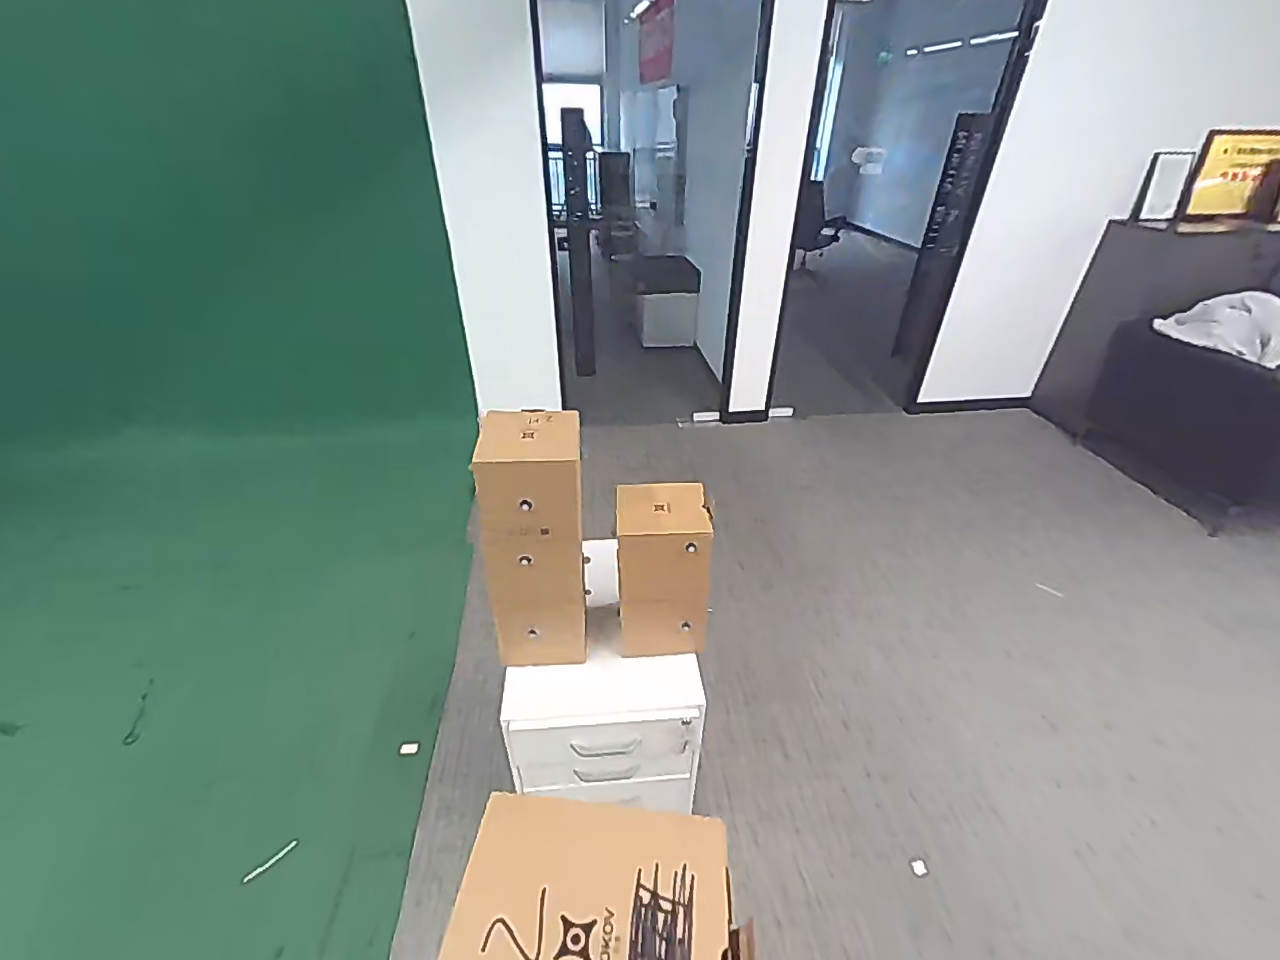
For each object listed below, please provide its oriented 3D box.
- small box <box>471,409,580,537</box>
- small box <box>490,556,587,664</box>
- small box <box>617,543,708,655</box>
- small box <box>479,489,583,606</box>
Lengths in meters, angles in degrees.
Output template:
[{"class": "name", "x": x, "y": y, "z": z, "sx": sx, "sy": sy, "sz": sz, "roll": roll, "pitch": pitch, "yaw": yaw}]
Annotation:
[{"class": "small box", "x": -0.190, "y": -0.011, "z": 0.954, "sx": 0.168, "sy": 0.176, "sz": 0.179, "roll": -1, "pitch": 34, "yaw": -6}, {"class": "small box", "x": -0.203, "y": 0.266, "z": 1.131, "sx": 0.179, "sy": 0.176, "sz": 0.168, "roll": -2, "pitch": 35, "yaw": -5}, {"class": "small box", "x": 0.041, "y": 0.254, "z": 1.157, "sx": 0.179, "sy": 0.176, "sz": 0.168, "roll": -4, "pitch": 34, "yaw": -3}, {"class": "small box", "x": -0.200, "y": 0.128, "z": 1.042, "sx": 0.179, "sy": 0.176, "sz": 0.168, "roll": -1, "pitch": 34, "yaw": -6}]
